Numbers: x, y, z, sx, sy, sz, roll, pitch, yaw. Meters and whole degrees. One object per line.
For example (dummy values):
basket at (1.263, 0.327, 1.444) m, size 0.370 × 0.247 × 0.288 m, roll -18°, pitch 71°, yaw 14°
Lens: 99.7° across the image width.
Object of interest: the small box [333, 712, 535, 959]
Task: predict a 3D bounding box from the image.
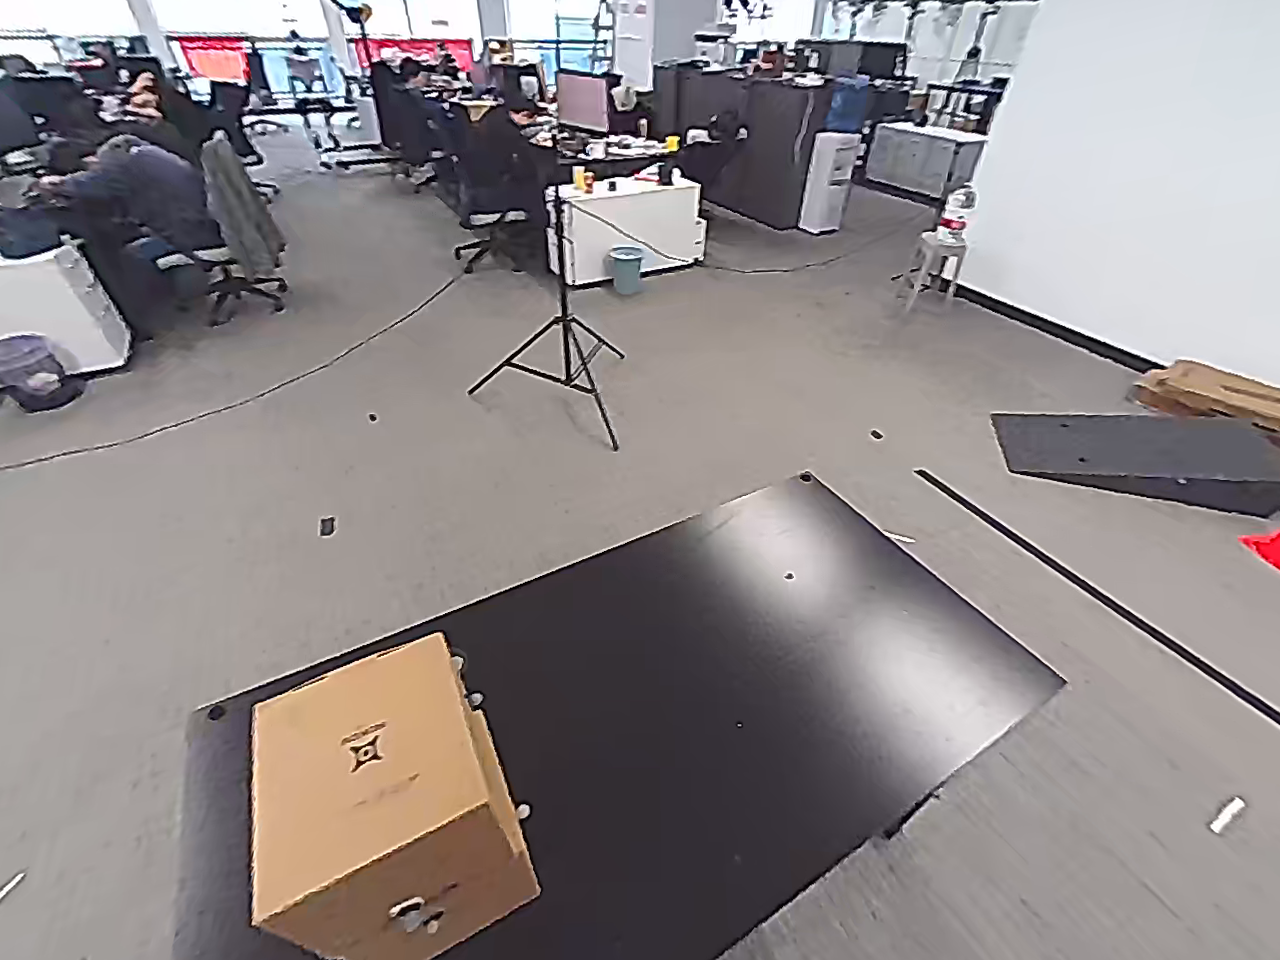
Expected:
small box at (-0.233, 0.410, 0.615) m, size 0.179 × 0.176 × 0.168 m, roll -17°, pitch 44°, yaw -22°

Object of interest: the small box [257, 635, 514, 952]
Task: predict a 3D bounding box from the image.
small box at (-0.231, 0.288, 0.508) m, size 0.168 × 0.176 × 0.179 m, roll -20°, pitch 46°, yaw -22°
